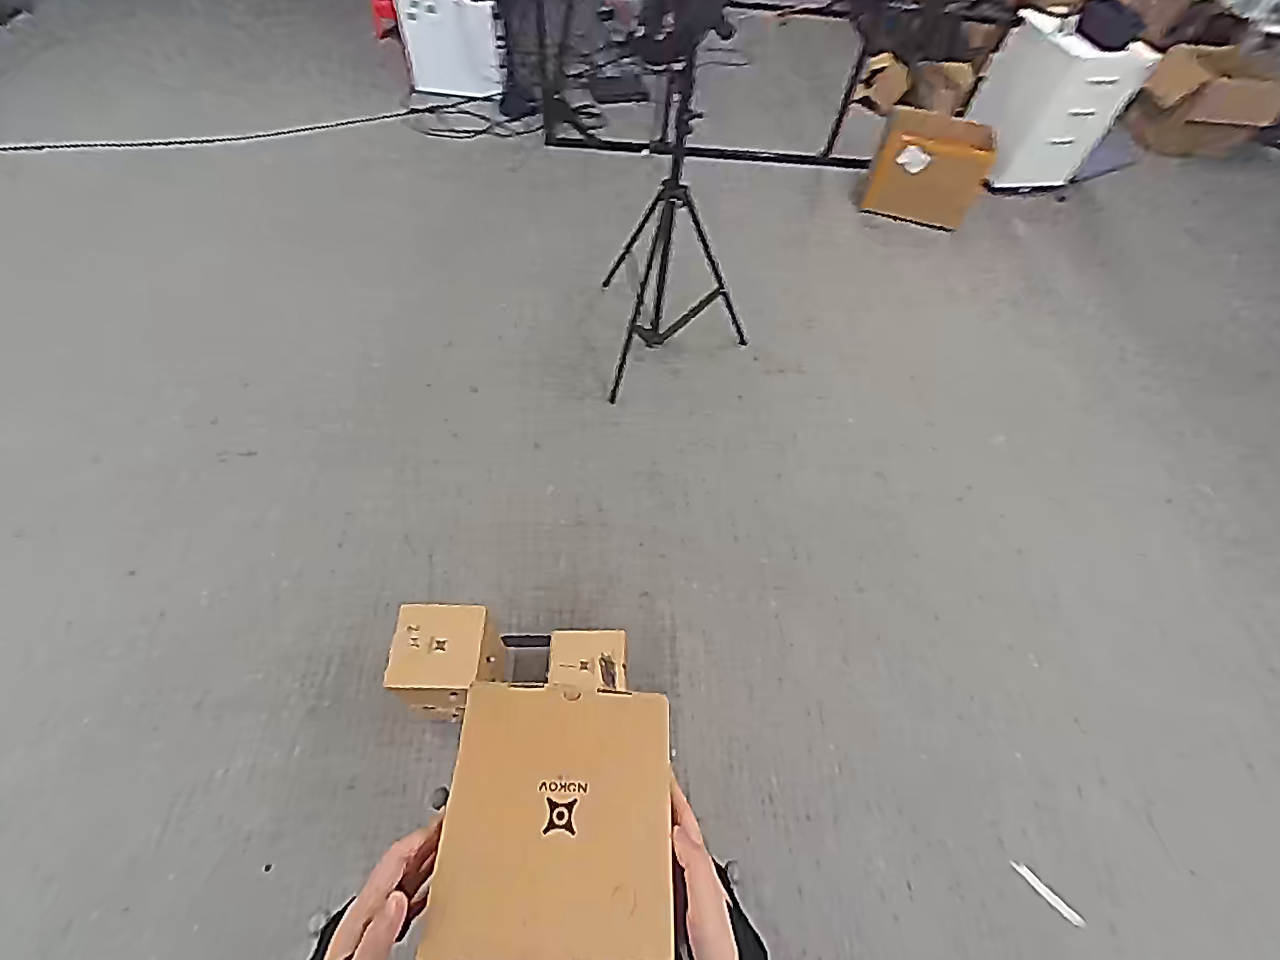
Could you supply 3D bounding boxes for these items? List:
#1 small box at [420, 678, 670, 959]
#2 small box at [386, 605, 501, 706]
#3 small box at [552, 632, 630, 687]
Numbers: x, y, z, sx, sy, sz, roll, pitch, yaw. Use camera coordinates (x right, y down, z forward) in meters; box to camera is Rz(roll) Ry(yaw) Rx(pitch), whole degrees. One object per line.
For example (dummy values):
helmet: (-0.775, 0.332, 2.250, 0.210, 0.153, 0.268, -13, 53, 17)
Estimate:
small box: (-0.071, 0.289, 0.462, 0.168, 0.176, 0.179, 6, 50, -8)
small box: (-0.398, 0.372, 1.133, 0.179, 0.176, 0.168, 2, 57, -3)
small box: (-0.116, 0.468, 1.292, 0.179, 0.176, 0.168, 1, 58, -3)
